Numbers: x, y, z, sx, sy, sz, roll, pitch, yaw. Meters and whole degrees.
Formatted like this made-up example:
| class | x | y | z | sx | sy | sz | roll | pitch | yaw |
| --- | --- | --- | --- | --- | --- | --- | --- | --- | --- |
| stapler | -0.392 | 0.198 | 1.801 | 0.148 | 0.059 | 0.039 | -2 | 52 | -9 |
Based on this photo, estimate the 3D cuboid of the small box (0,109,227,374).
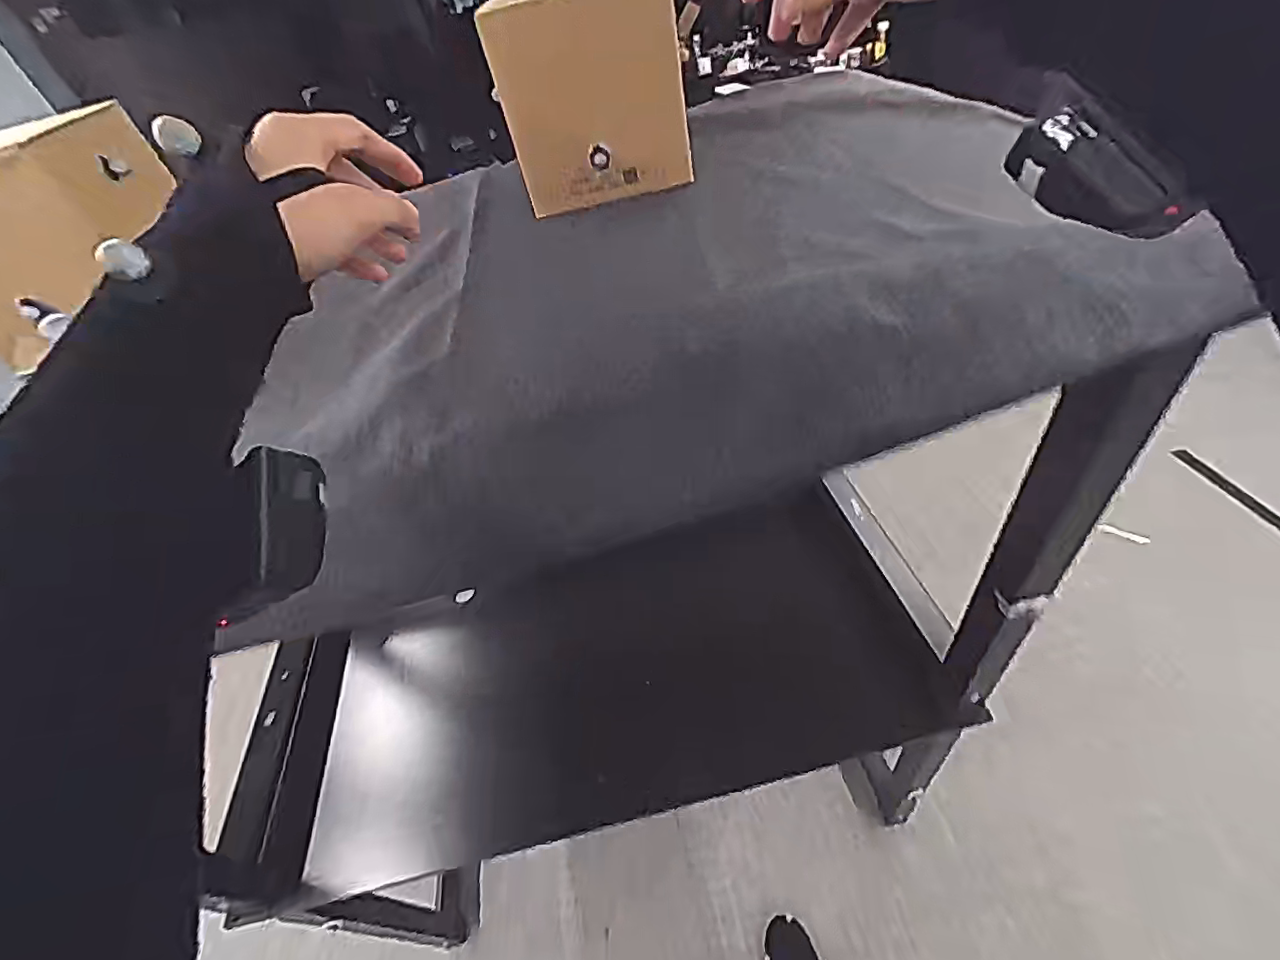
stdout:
| class | x | y | z | sx | sy | sz | roll | pitch | yaw |
| --- | --- | --- | --- | --- | --- | --- | --- | --- | --- |
| small box | -0.557 | -0.231 | 0.528 | 0.168 | 0.176 | 0.179 | -17 | 46 | -2 |
